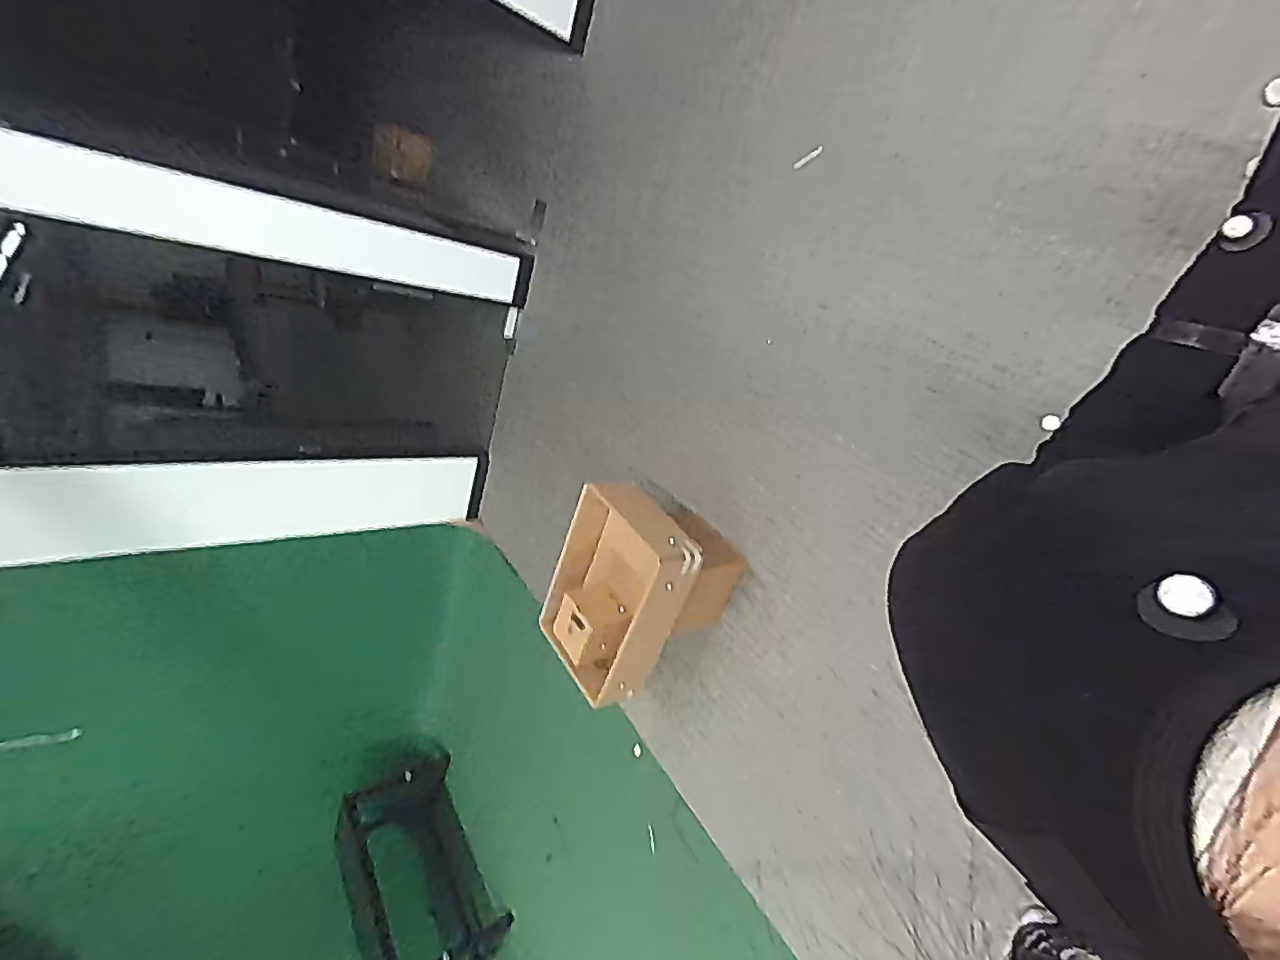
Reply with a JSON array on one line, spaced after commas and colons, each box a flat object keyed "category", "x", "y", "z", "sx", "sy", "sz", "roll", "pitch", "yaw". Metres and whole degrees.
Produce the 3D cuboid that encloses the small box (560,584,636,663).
[{"category": "small box", "x": -0.134, "y": 0.465, "z": 1.780, "sx": 0.168, "sy": 0.176, "sz": 0.179, "roll": 45, "pitch": 124, "yaw": 38}]
